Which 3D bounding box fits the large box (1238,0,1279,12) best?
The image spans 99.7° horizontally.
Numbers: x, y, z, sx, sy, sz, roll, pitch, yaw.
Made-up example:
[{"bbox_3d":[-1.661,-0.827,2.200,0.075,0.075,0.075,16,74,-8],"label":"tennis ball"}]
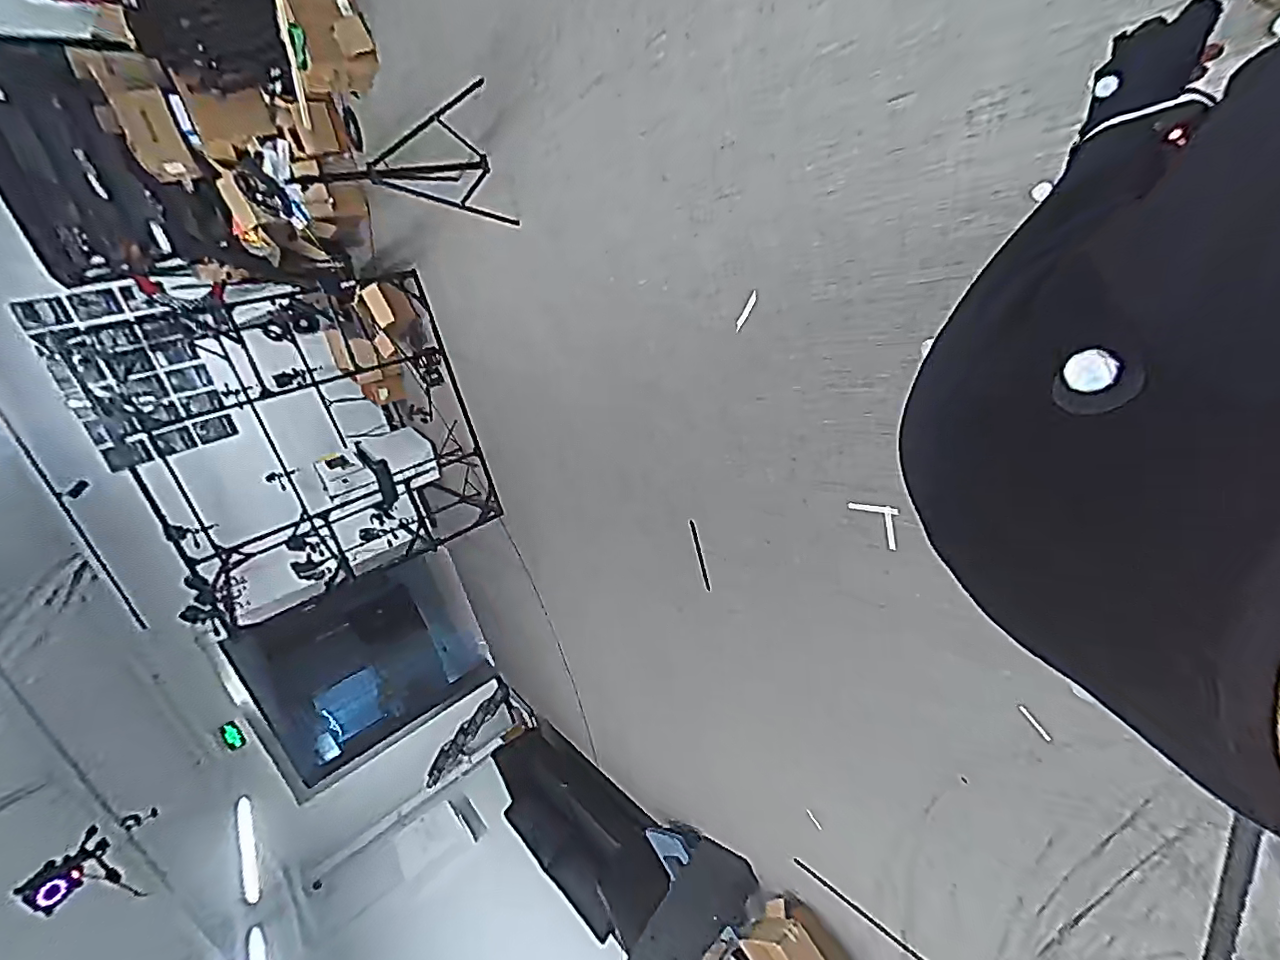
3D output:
[{"bbox_3d":[0.984,-0.789,0.578,0.408,0.320,0.320,15,124,50],"label":"large box"}]
